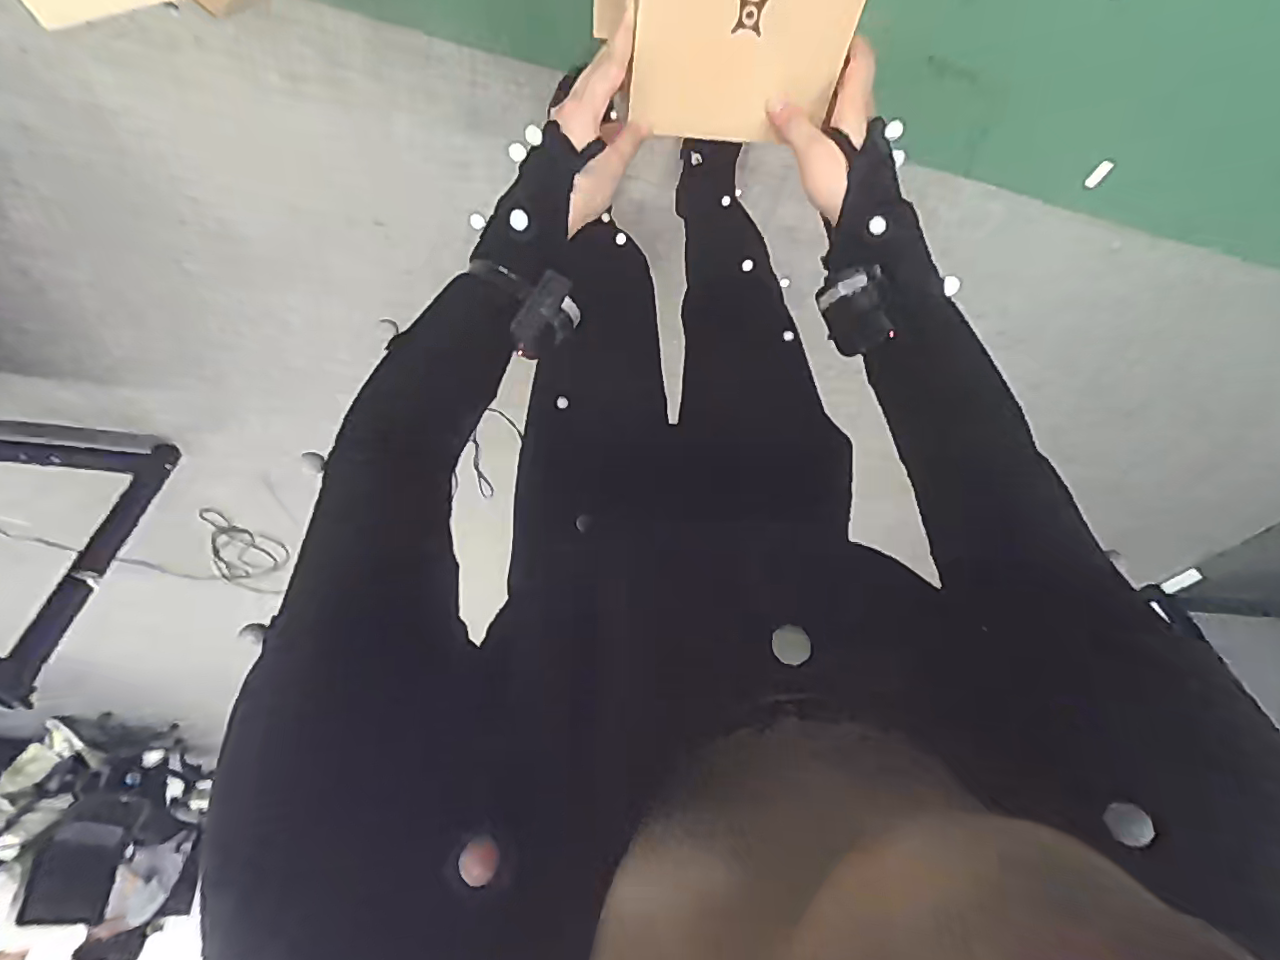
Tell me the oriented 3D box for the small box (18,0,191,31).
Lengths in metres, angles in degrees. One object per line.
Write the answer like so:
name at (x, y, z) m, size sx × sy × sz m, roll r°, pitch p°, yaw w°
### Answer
small box at (-0.473, -0.531, 0.469) m, size 0.179 × 0.176 × 0.168 m, roll -7°, pitch 142°, yaw 6°

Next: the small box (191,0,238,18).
small box at (-0.472, -0.657, 0.574) m, size 0.179 × 0.176 × 0.168 m, roll -29°, pitch 136°, yaw 28°

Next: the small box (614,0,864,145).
small box at (0.071, -0.404, 0.431) m, size 0.168 × 0.176 × 0.179 m, roll -2°, pitch 145°, yaw -9°
